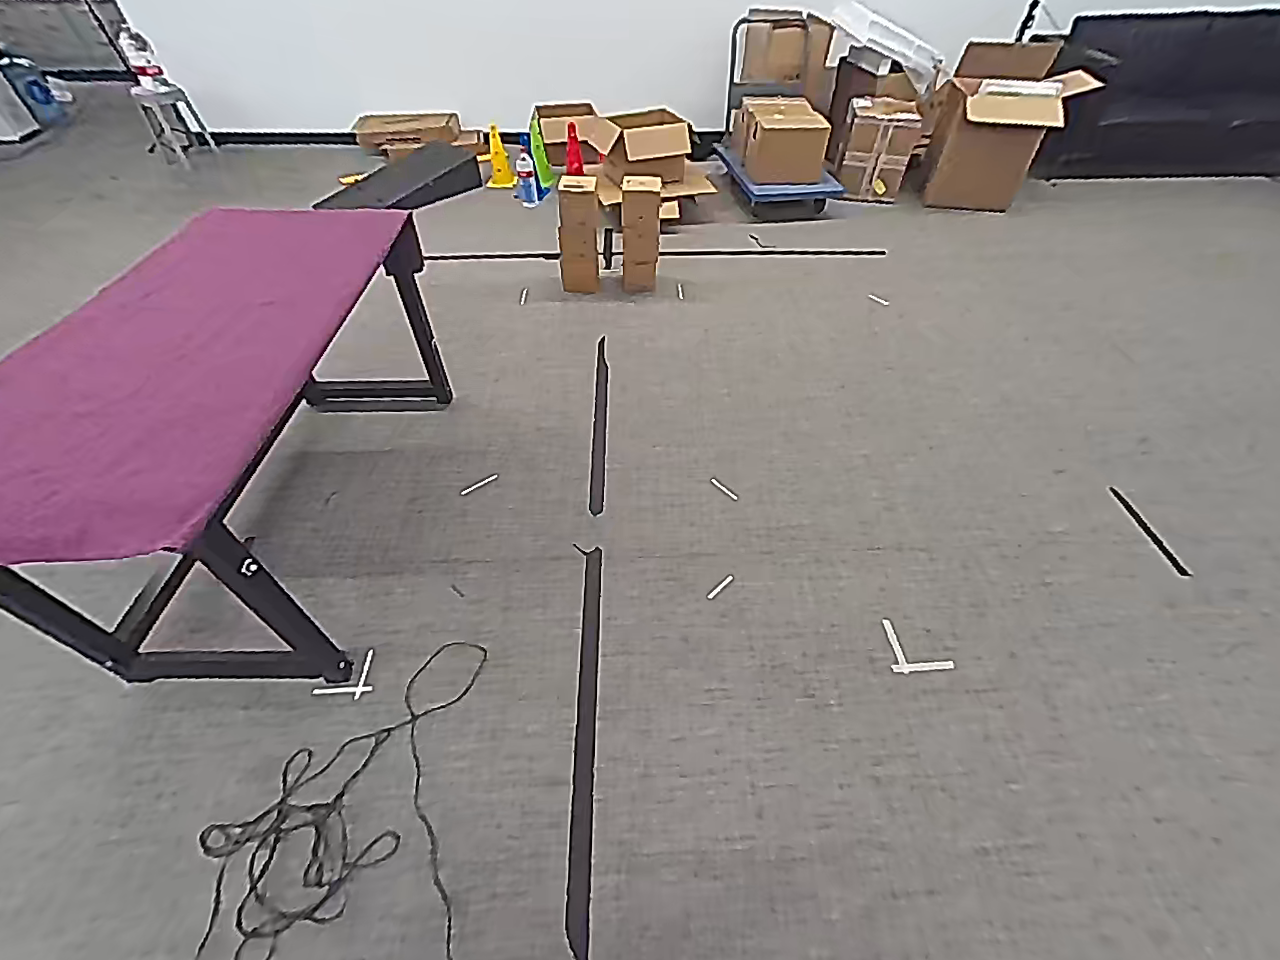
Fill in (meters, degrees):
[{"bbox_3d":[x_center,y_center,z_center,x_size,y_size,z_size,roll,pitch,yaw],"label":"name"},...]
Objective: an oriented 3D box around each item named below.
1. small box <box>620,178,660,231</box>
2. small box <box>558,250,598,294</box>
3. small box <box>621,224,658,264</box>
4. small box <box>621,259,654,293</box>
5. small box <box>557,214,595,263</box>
[{"bbox_3d":[-0.001,-1.286,2.528,0.179,0.176,0.168,4,49,0],"label":"small box"},{"bbox_3d":[-0.316,-1.068,2.769,0.179,0.176,0.168,4,48,2],"label":"small box"},{"bbox_3d":[-0.004,-1.179,2.653,0.179,0.176,0.168,1,49,-1],"label":"small box"},{"bbox_3d":[-0.013,-1.083,2.787,0.168,0.176,0.179,-1,48,-3],"label":"small box"},{"bbox_3d":[-0.309,-1.182,2.653,0.168,0.176,0.179,4,47,-1],"label":"small box"}]
